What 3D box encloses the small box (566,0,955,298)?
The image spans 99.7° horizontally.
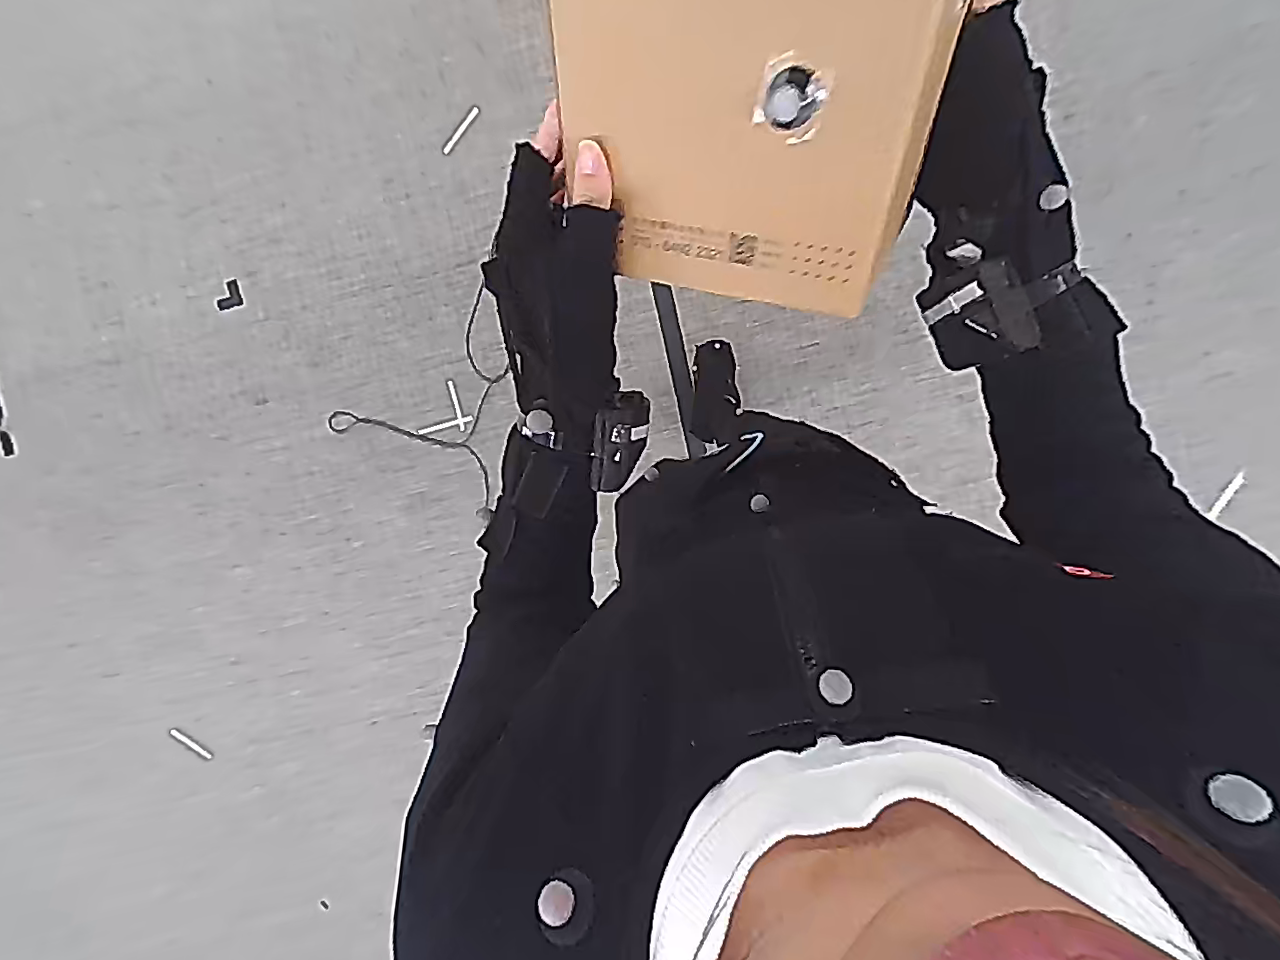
[{"bbox_3d":[0.075,-0.223,0.313,0.168,0.179,0.176,18,135,20],"label":"small box"}]
